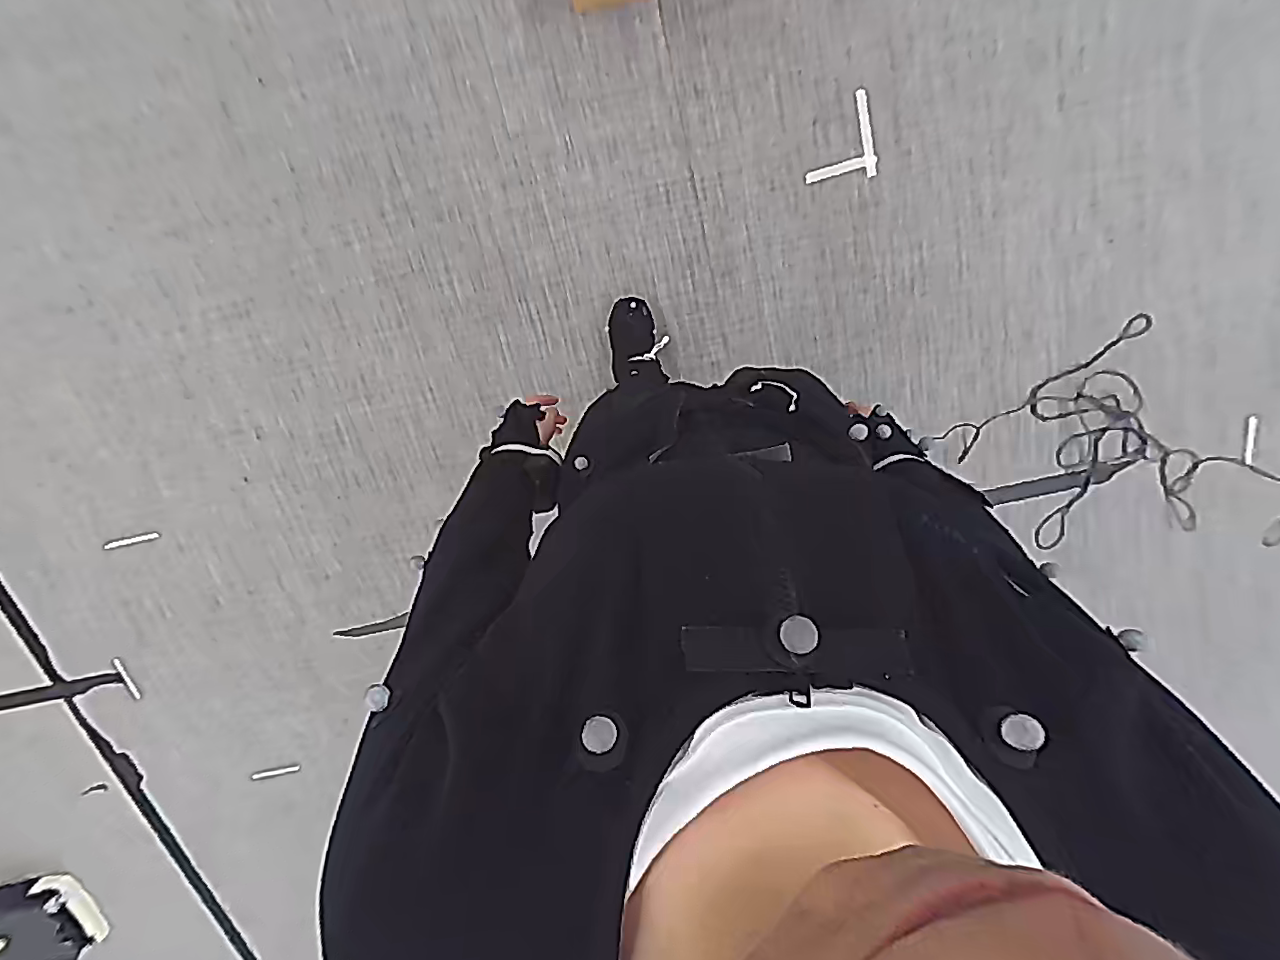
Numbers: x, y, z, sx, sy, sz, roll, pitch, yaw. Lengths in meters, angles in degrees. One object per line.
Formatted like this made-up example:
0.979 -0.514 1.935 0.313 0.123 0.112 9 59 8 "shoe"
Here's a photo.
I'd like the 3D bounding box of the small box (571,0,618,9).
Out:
-0.066 -1.025 0.999 0.179 0.176 0.168 -13 107 3 "small box"
